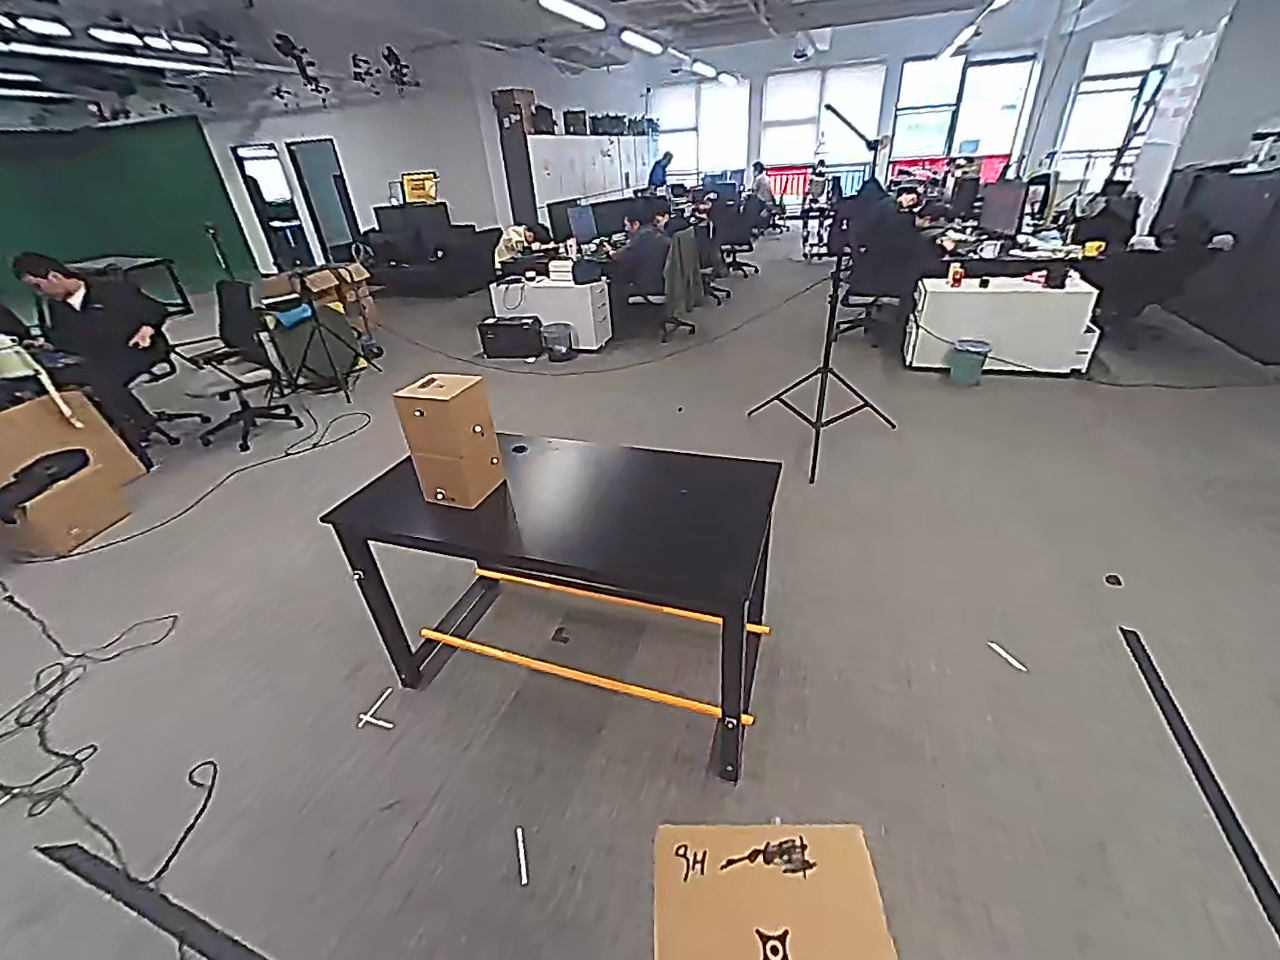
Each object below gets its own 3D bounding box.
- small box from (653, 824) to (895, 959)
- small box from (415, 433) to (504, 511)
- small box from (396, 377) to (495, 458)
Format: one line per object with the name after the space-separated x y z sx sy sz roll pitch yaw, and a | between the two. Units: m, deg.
0.098 0.391 0.415 0.168 0.176 0.179 -3 39 4 | small box
-0.514 -0.033 1.569 0.168 0.176 0.179 6 33 19 | small box
-0.526 -0.173 1.484 0.179 0.176 0.168 7 32 18 | small box
